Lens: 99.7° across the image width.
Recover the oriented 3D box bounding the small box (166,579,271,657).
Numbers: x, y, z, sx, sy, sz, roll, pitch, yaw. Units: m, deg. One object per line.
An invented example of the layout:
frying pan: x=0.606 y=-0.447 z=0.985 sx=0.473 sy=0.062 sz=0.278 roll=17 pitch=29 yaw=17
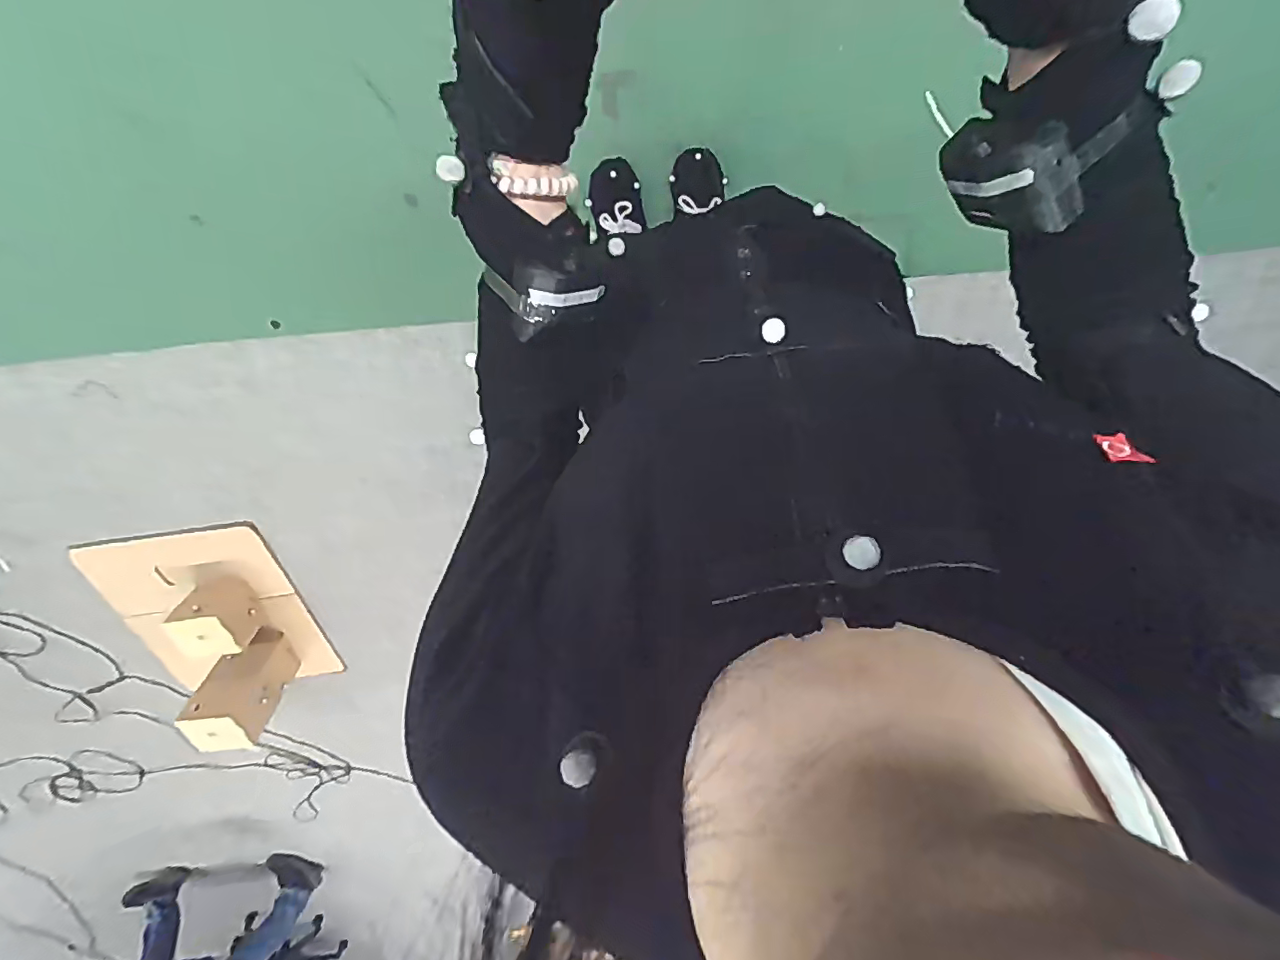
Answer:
small box: x=-1.354 y=0.444 z=1.751 sx=0.179 sy=0.176 sz=0.168 roll=-10 pitch=121 yaw=2

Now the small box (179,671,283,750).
small box: x=-1.306 y=0.738 z=1.740 sx=0.179 sy=0.176 sz=0.168 roll=-5 pitch=123 yaw=0
